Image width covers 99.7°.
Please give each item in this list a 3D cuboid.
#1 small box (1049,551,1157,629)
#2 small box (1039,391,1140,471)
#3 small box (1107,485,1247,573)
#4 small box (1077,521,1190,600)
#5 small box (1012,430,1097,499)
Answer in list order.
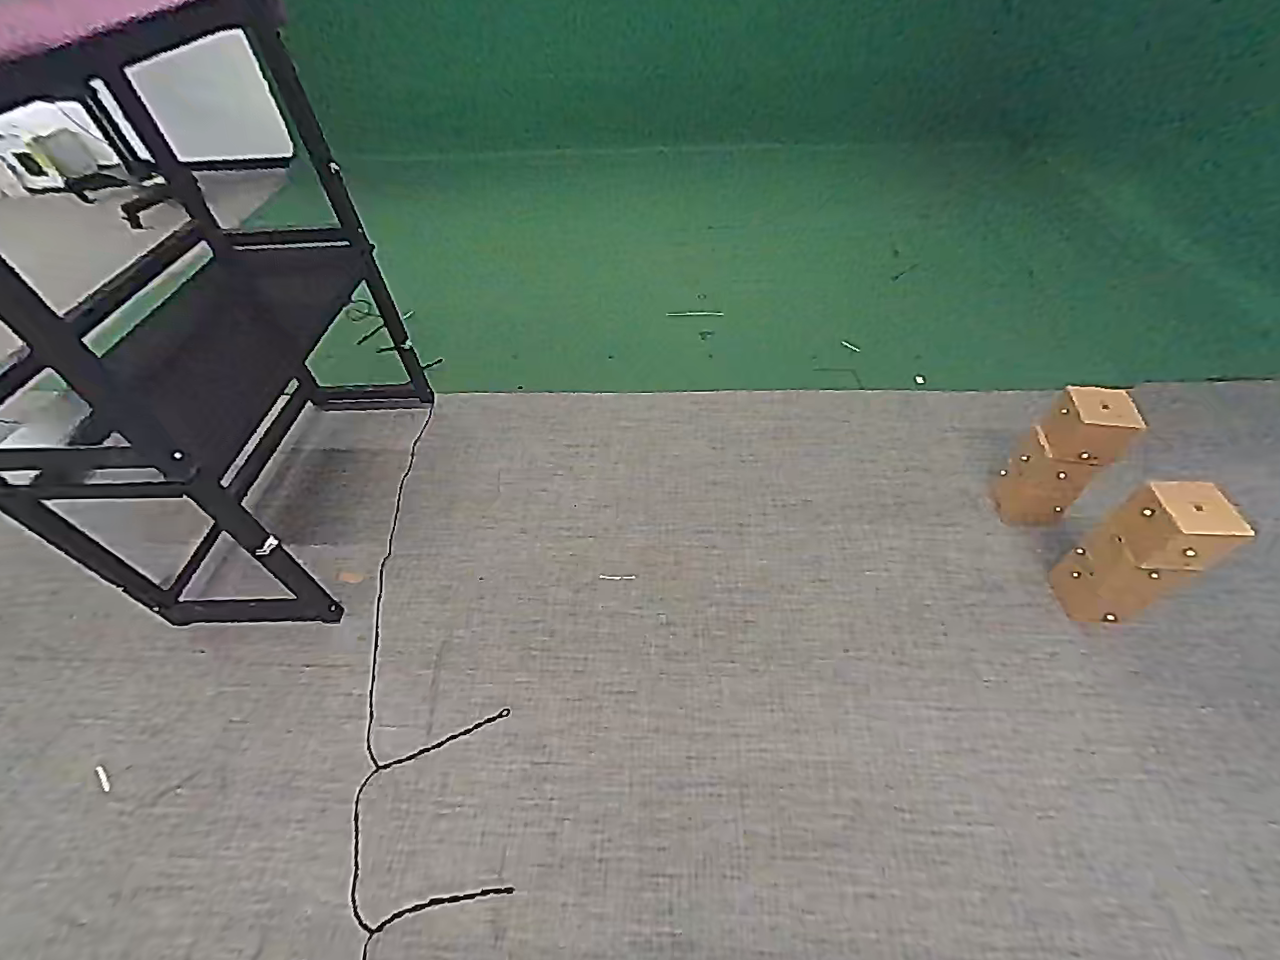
[{"bbox_3d":[1.432,0.343,1.690,0.168,0.176,0.179,0,48,5],"label":"small box"},{"bbox_3d":[1.398,-0.154,1.701,0.168,0.176,0.179,8,49,10],"label":"small box"},{"bbox_3d":[1.415,0.134,1.442,0.168,0.176,0.179,1,48,4],"label":"small box"},{"bbox_3d":[1.421,0.235,1.567,0.179,0.176,0.168,2,48,4],"label":"small box"},{"bbox_3d":[1.398,-0.051,1.830,0.179,0.176,0.168,4,50,8],"label":"small box"}]
